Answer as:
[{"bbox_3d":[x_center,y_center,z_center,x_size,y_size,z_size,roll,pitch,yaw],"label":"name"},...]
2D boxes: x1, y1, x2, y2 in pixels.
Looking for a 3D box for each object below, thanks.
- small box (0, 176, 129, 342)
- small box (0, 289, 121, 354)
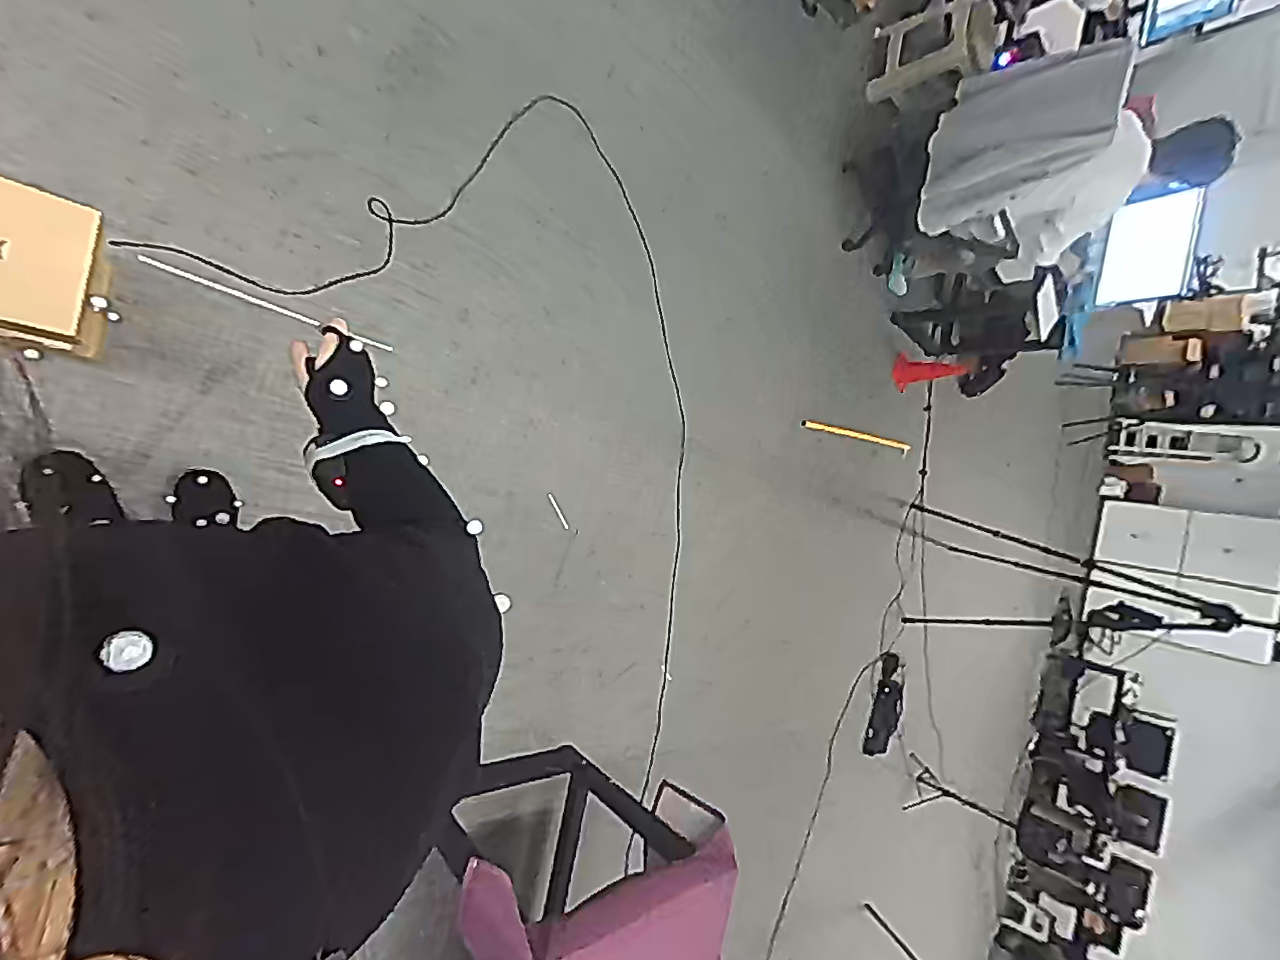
[{"bbox_3d":[-0.810,-0.287,0.711,0.179,0.176,0.168,12,89,-38],"label":"small box"},{"bbox_3d":[-0.923,-0.302,0.828,0.168,0.176,0.179,11,88,-40],"label":"small box"}]
